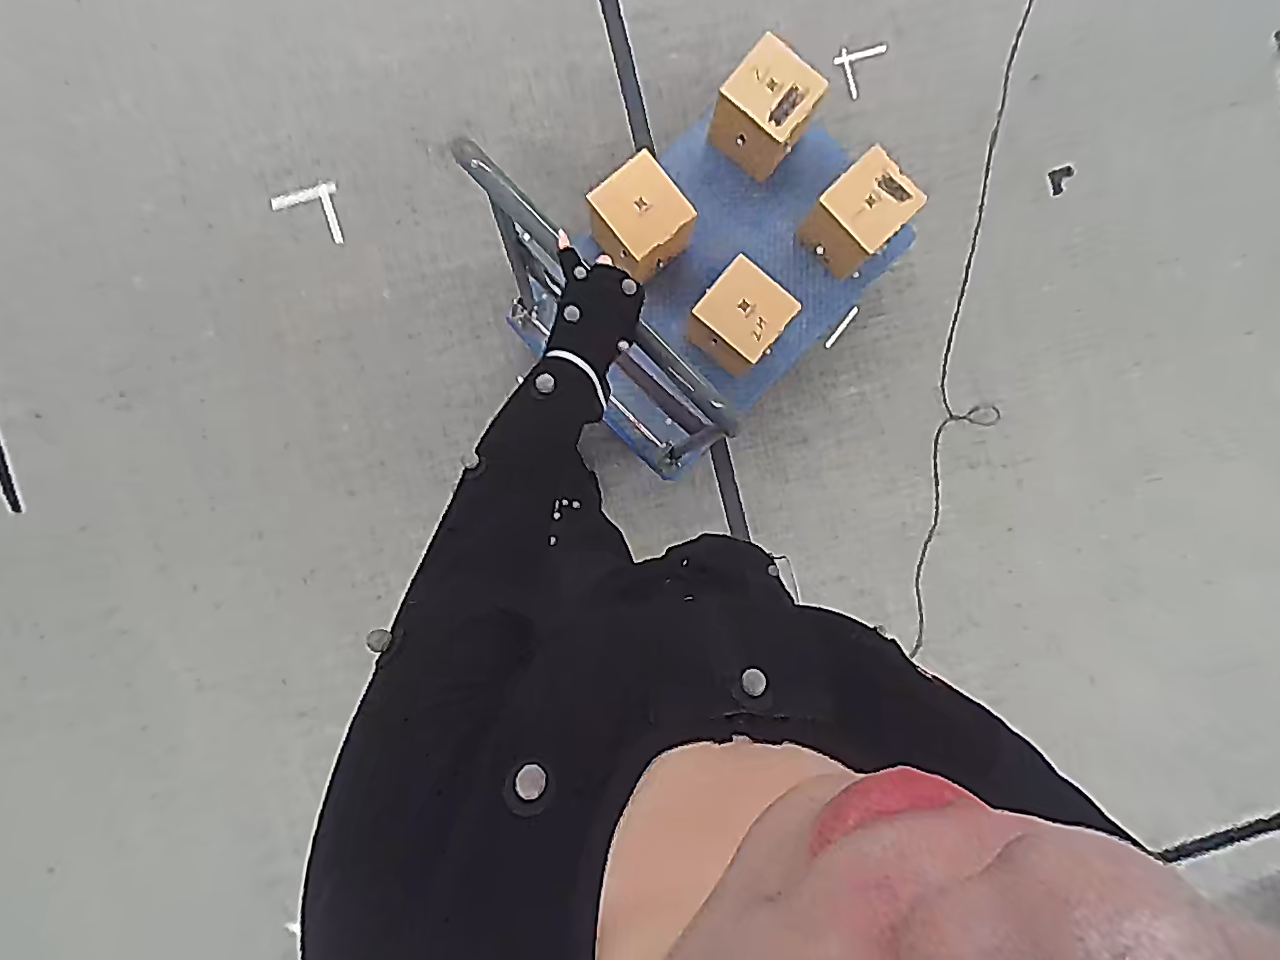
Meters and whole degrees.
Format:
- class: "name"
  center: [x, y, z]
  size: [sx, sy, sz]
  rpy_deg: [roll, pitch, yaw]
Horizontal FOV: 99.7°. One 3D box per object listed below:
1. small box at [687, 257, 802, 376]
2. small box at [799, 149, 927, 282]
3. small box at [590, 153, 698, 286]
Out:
- class: "small box"
  center: [0.224, -0.356, 1.219]
  size: [0.179, 0.176, 0.168]
  rpy_deg: [41, 89, -2]
- class: "small box"
  center: [0.495, -0.590, 1.229]
  size: [0.179, 0.176, 0.168]
  rpy_deg: [-43, 92, 0]
- class: "small box"
  center: [0.003, -0.571, 1.212]
  size: [0.168, 0.176, 0.179]
  rpy_deg: [-39, 93, -2]
